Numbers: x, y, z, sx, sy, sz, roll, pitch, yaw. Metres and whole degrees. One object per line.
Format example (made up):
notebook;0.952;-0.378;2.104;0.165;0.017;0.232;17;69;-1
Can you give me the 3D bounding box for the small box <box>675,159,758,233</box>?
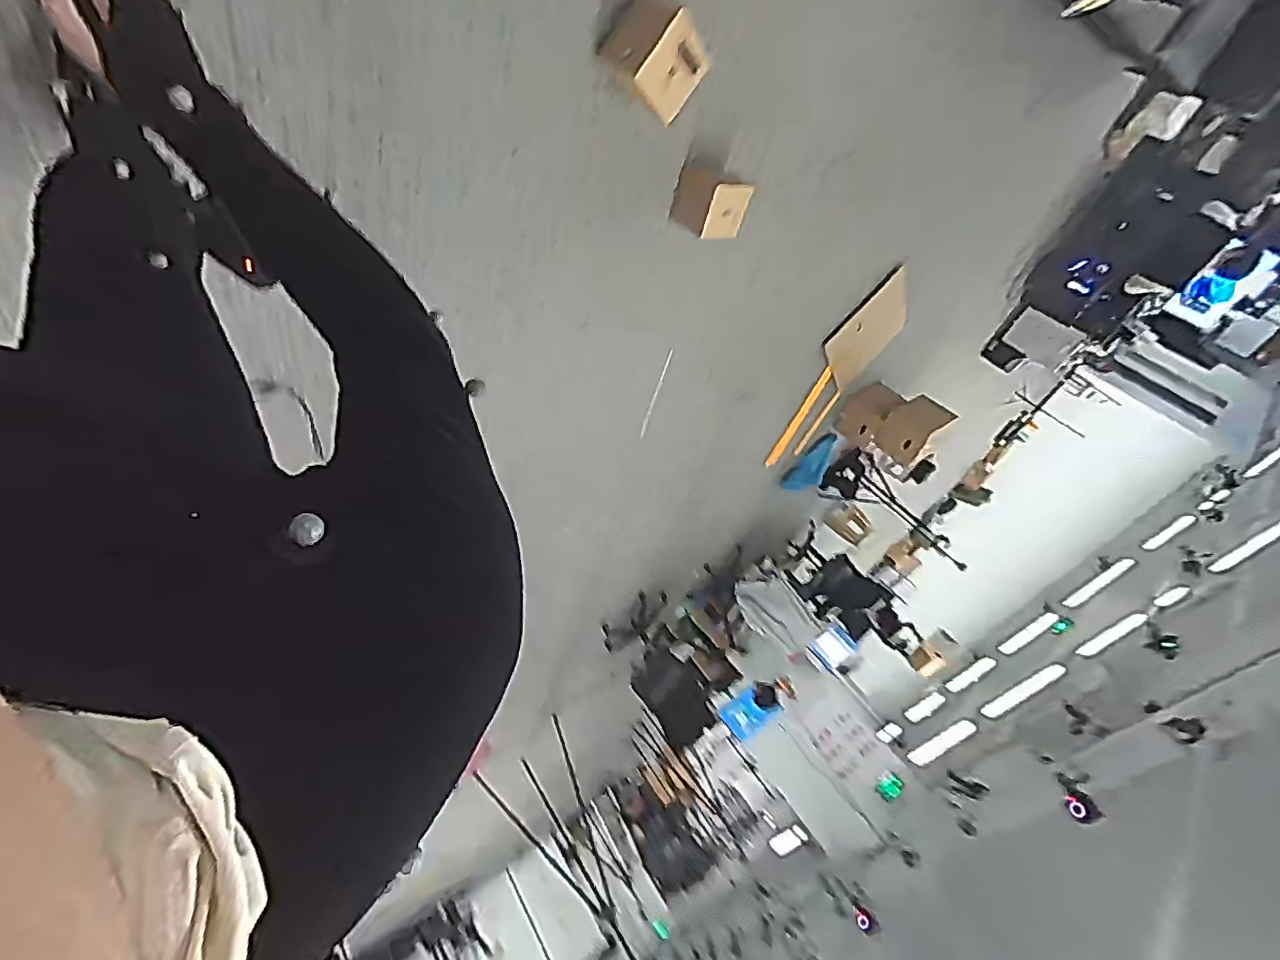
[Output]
small box;0.243;-0.927;1.764;0.179;0.176;0.168;-20;146;-34
